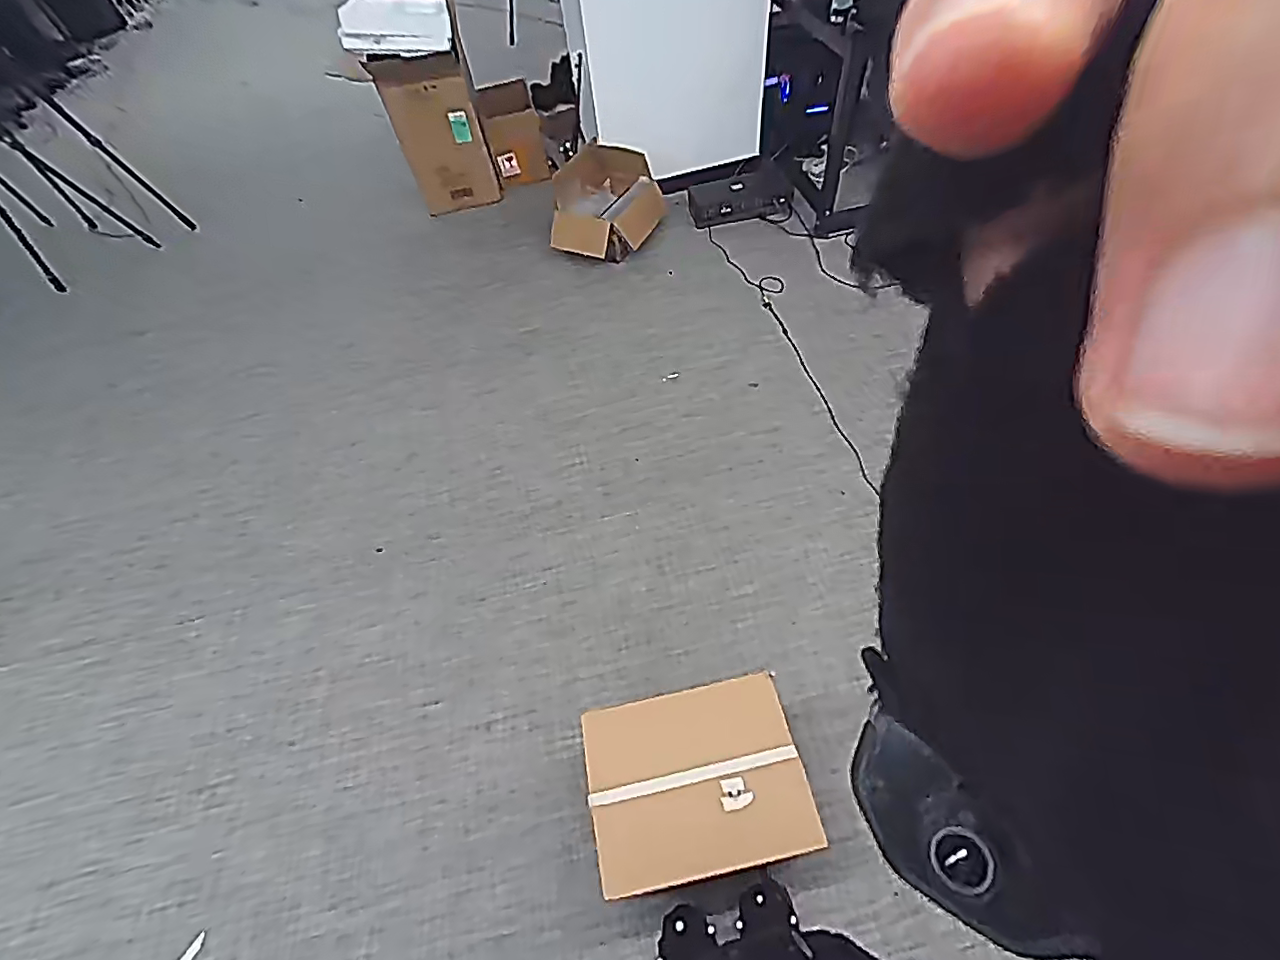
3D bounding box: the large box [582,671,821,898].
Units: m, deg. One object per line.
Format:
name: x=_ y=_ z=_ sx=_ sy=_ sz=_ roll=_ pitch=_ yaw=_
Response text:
large box: x=0.115 y=0.654 z=1.161 sx=0.408 sy=0.320 sz=0.320 roll=-12 pitch=55 yaw=-3
